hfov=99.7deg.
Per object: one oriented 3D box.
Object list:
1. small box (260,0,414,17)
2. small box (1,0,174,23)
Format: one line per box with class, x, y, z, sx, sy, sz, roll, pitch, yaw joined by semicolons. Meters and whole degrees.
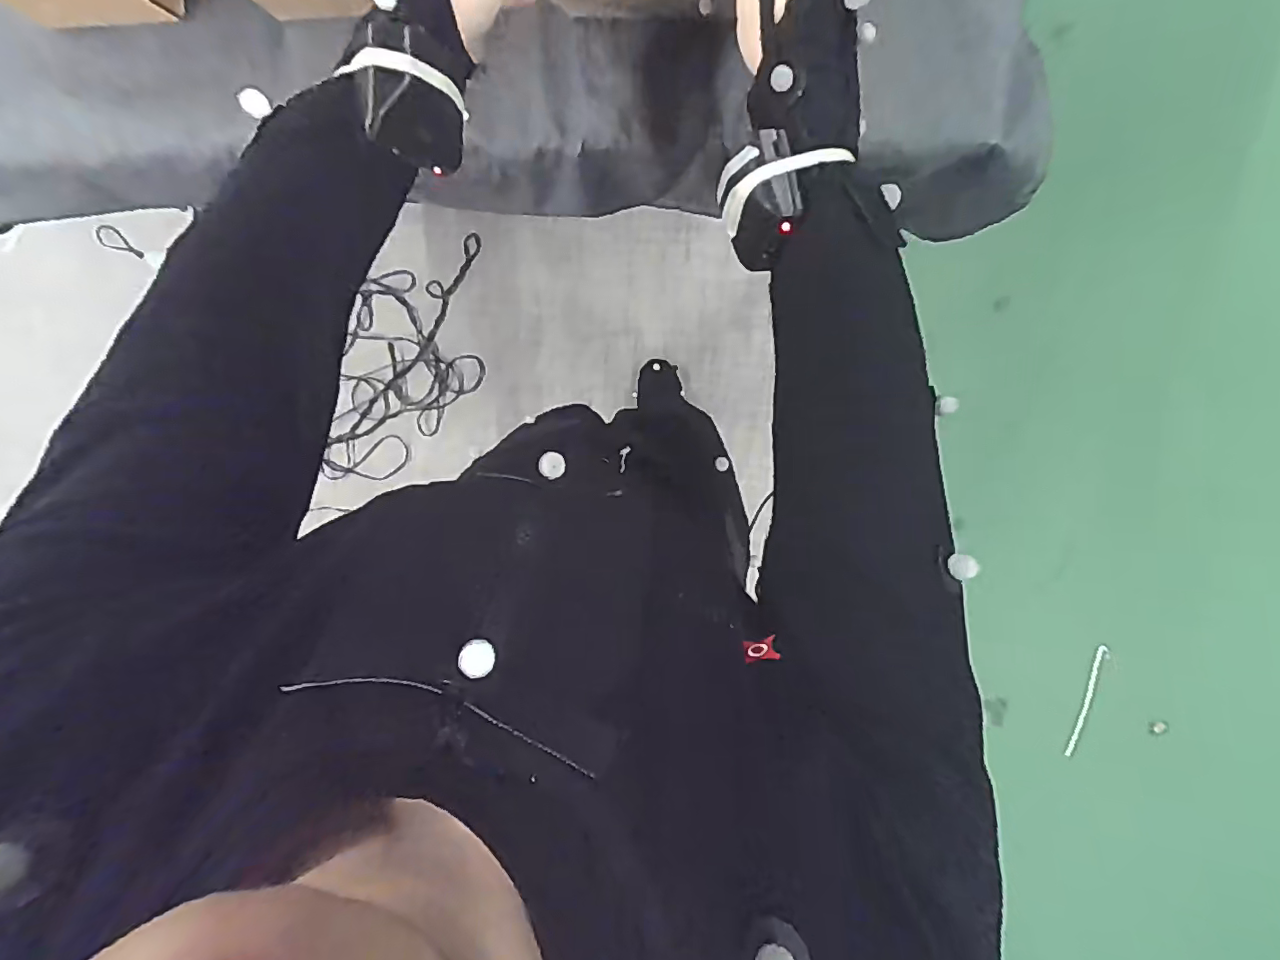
small box;-0.288;-0.516;0.433;0.179;0.176;0.168;4;104;9
small box;-0.564;-0.541;0.472;0.179;0.176;0.168;3;104;8
